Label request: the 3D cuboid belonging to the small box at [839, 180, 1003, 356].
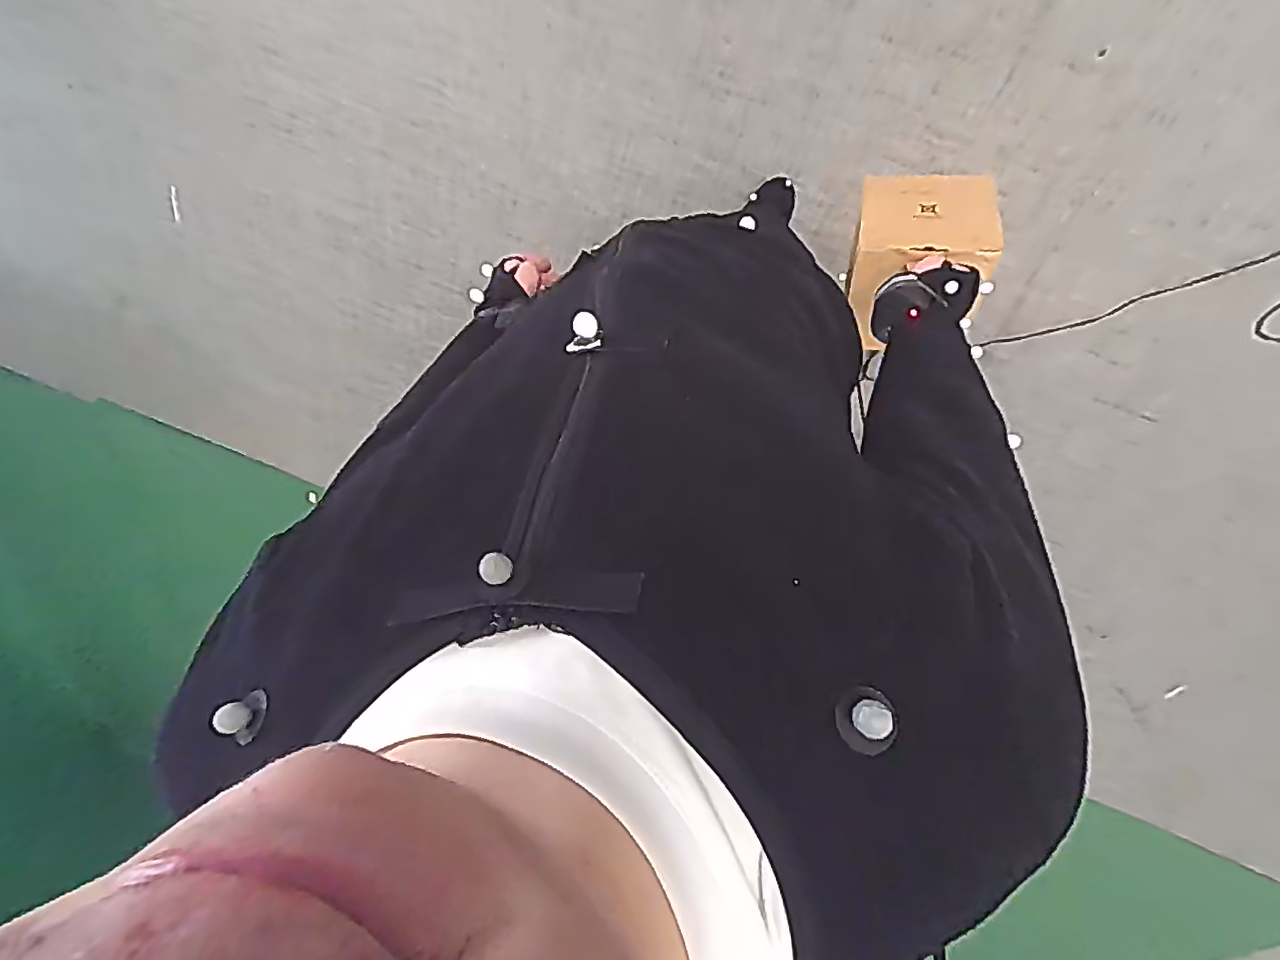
[{"bbox_3d":[0.384,-0.296,0.763,0.168,0.179,0.176,10,145,15],"label":"small box"}]
